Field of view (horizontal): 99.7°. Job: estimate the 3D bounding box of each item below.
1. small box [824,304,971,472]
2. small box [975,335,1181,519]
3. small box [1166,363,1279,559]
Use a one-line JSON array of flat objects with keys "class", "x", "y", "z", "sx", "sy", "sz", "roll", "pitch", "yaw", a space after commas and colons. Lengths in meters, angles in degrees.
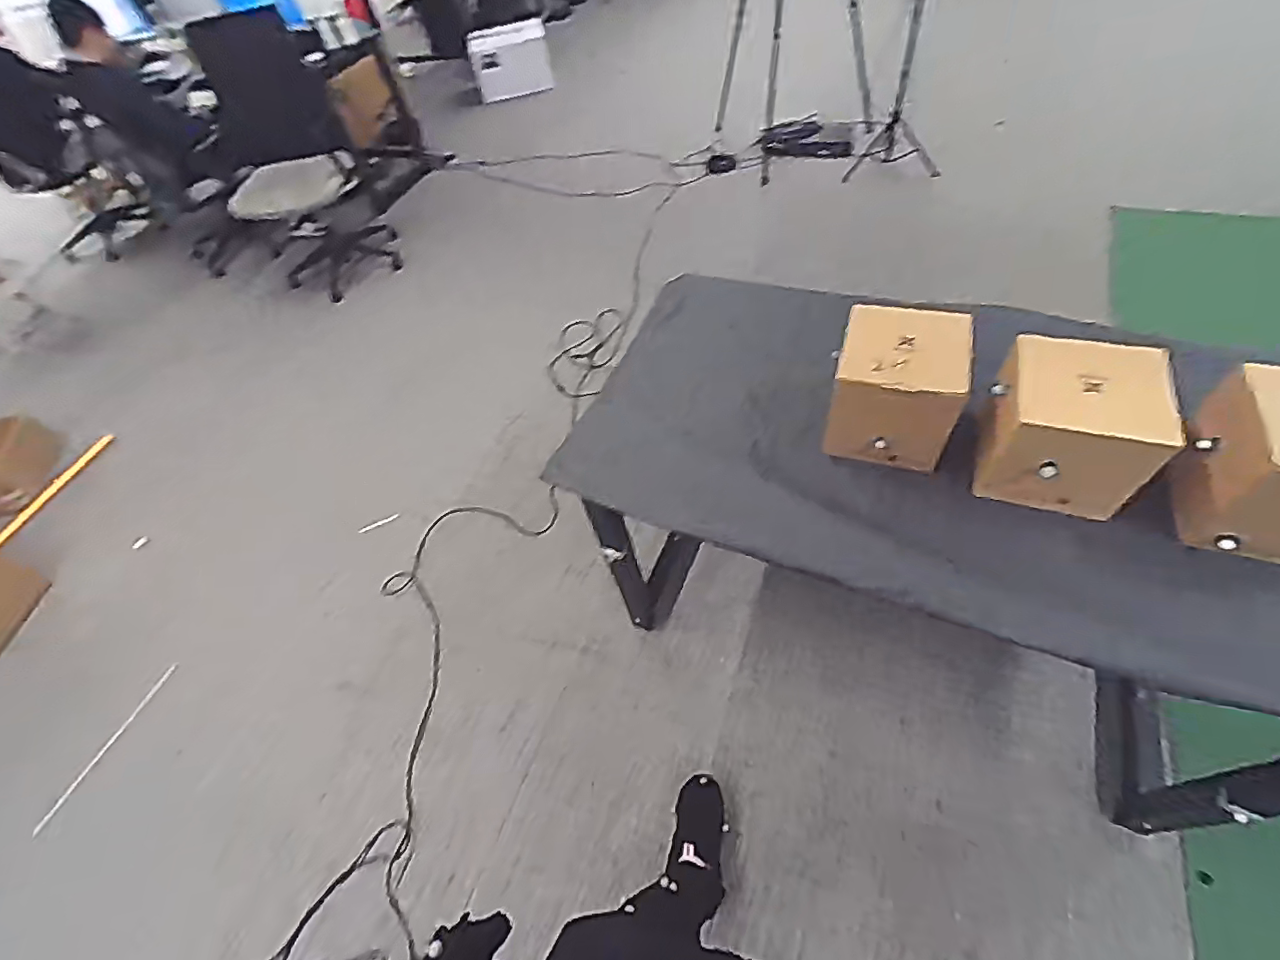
[{"class": "small box", "x": 0.387, "y": -0.141, "z": 0.831, "sx": 0.168, "sy": 0.176, "sz": 0.179, "roll": 12, "pitch": 56, "yaw": 19}, {"class": "small box", "x": 0.582, "y": -0.071, "z": 0.744, "sx": 0.168, "sy": 0.176, "sz": 0.179, "roll": 13, "pitch": 56, "yaw": 19}, {"class": "small box", "x": 0.800, "y": -0.014, "z": 0.659, "sx": 0.168, "sy": 0.176, "sz": 0.179, "roll": 13, "pitch": 56, "yaw": 19}]
